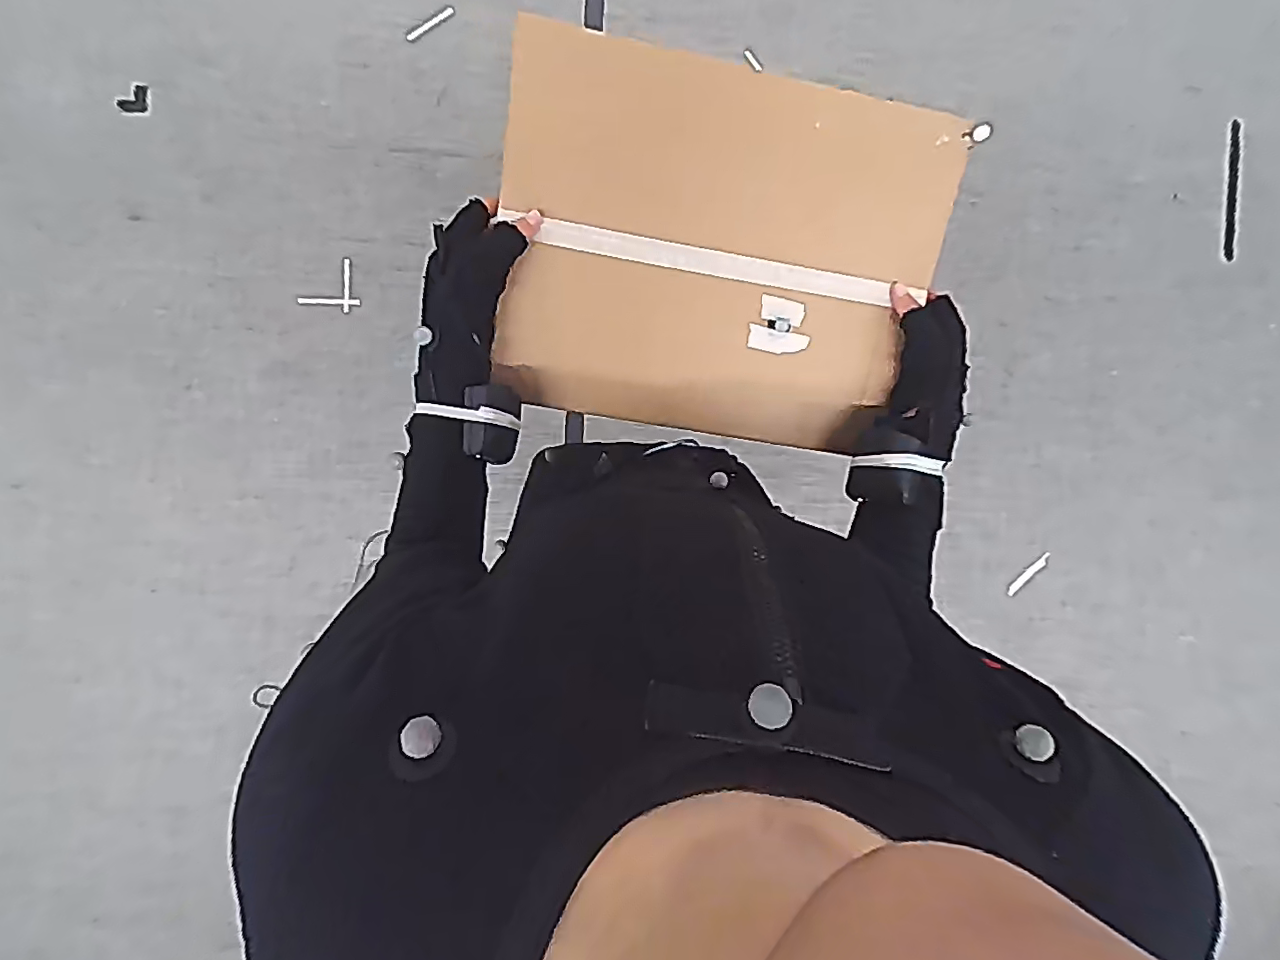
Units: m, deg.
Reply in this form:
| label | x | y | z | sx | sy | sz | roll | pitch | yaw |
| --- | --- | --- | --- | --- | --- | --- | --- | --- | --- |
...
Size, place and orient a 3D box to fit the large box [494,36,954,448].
| label | x | y | z | sx | sy | sz | roll | pitch | yaw |
| --- | --- | --- | --- | --- | --- | --- | --- | --- | --- |
| large box | 0.061 | -0.245 | 0.658 | 0.408 | 0.320 | 0.320 | 9 | 106 | -7 |
